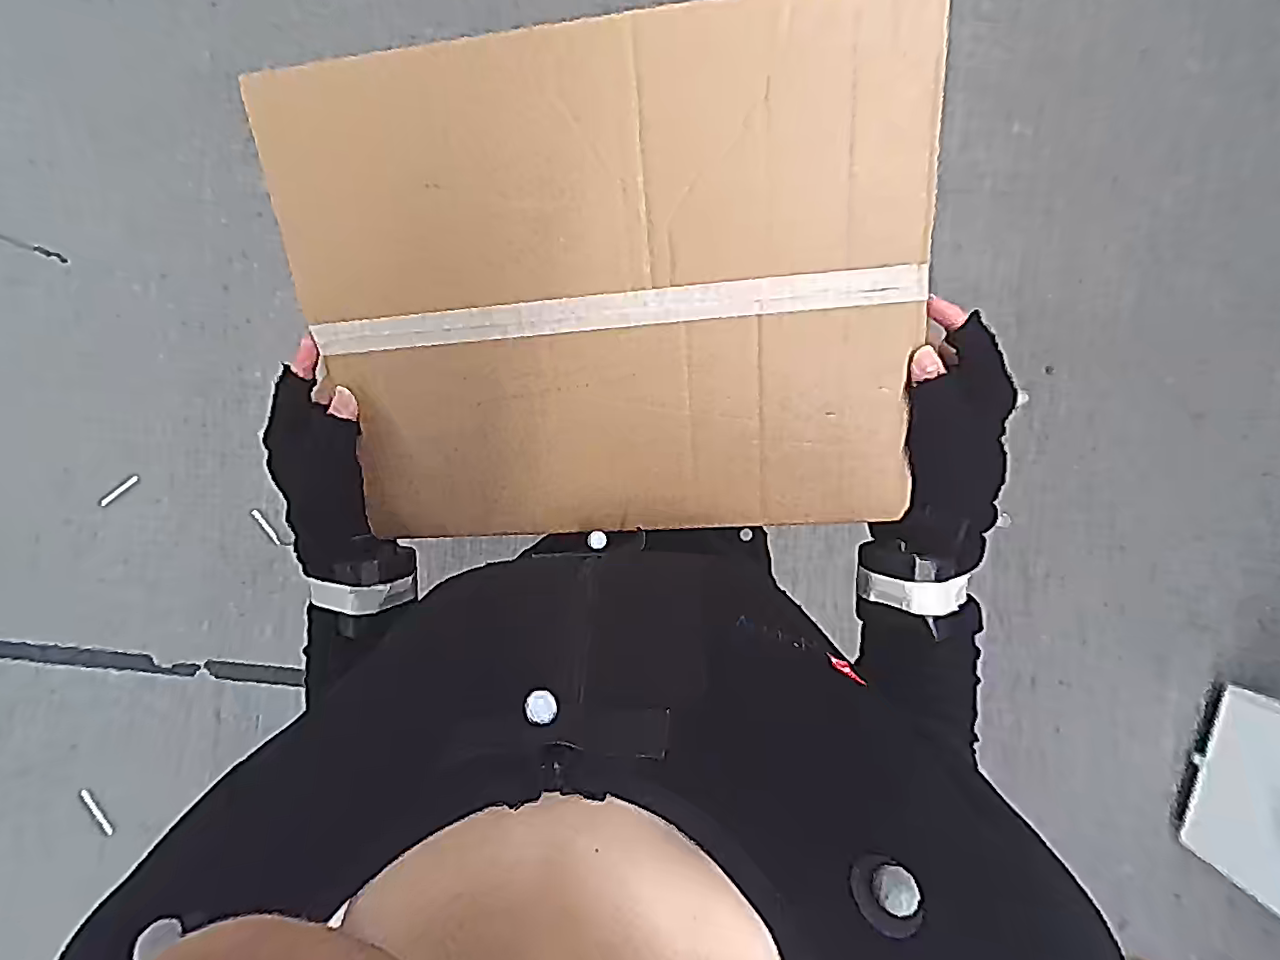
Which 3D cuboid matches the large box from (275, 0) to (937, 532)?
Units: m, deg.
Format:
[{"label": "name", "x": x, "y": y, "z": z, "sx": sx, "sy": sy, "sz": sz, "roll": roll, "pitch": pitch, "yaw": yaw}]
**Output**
[{"label": "large box", "x": -0.008, "y": -0.163, "z": 0.502, "sx": 0.408, "sy": 0.320, "sz": 0.320, "roll": -3, "pitch": 111, "yaw": 7}]
